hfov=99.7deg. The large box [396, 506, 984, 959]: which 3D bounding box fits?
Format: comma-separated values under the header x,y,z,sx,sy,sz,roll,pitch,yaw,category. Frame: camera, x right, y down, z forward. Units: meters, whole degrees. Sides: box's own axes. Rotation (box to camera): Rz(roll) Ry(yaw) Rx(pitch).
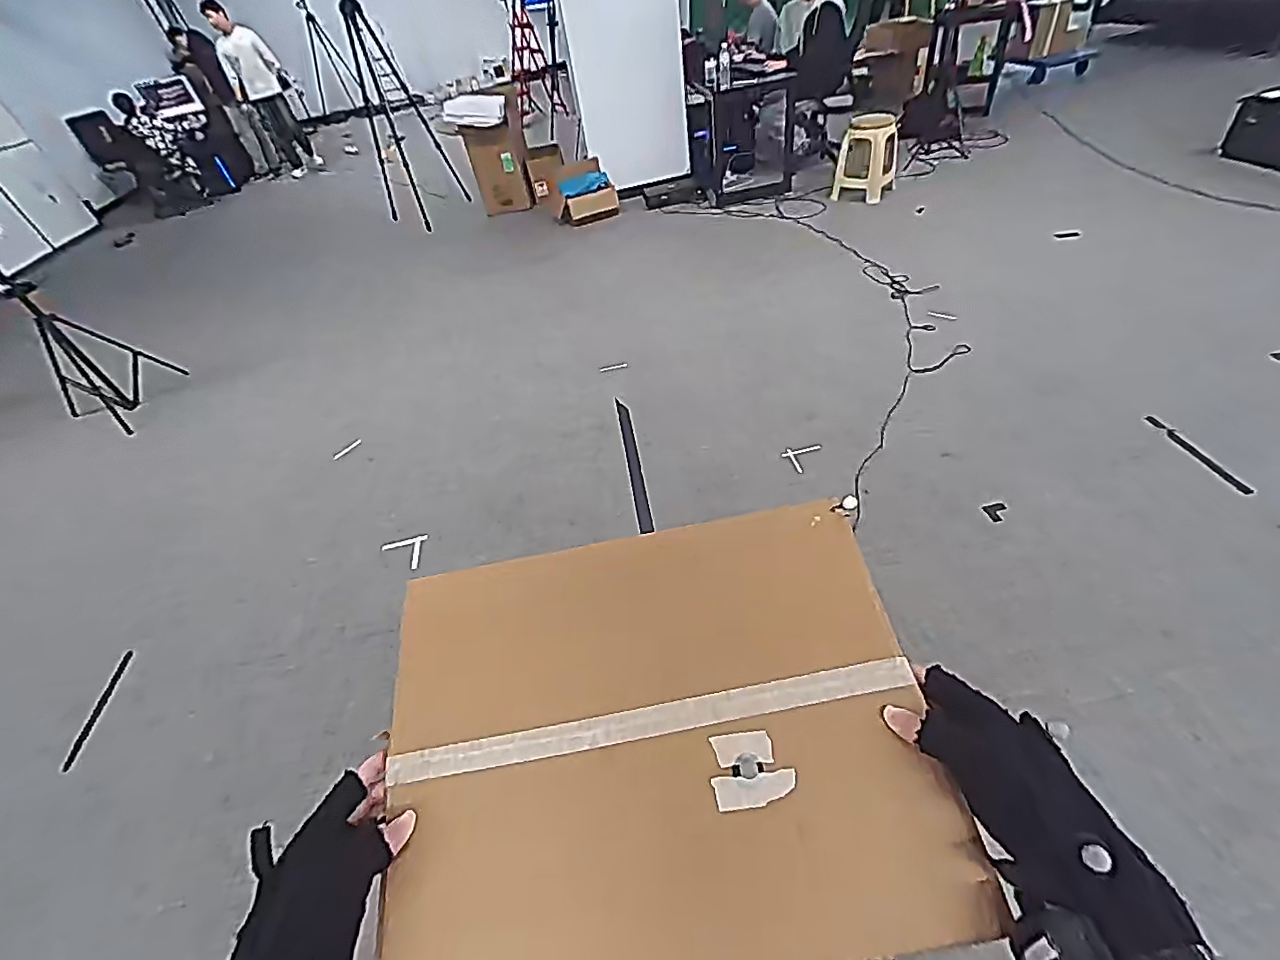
x,y,z,sx,sy,sz,roll,pitch,yaw,category
0.024,0.268,0.556,0.408,0.320,0.320,-11,58,1,large box
